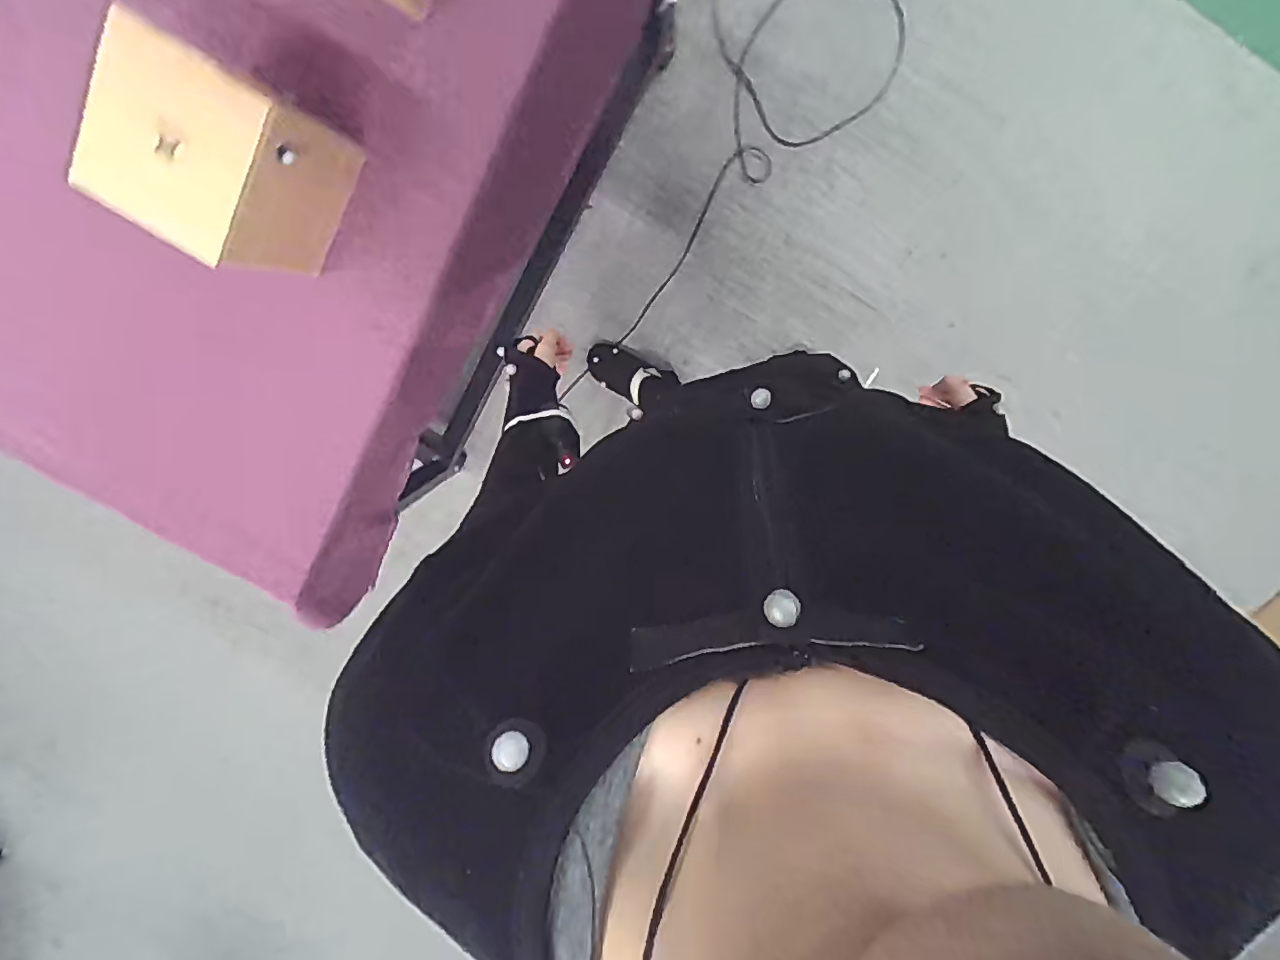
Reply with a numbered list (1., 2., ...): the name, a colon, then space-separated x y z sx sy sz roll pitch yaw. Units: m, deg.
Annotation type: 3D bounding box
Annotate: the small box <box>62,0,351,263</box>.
1. small box: -0.465 -0.368 0.606 0.168 0.176 0.179 31 105 -5
